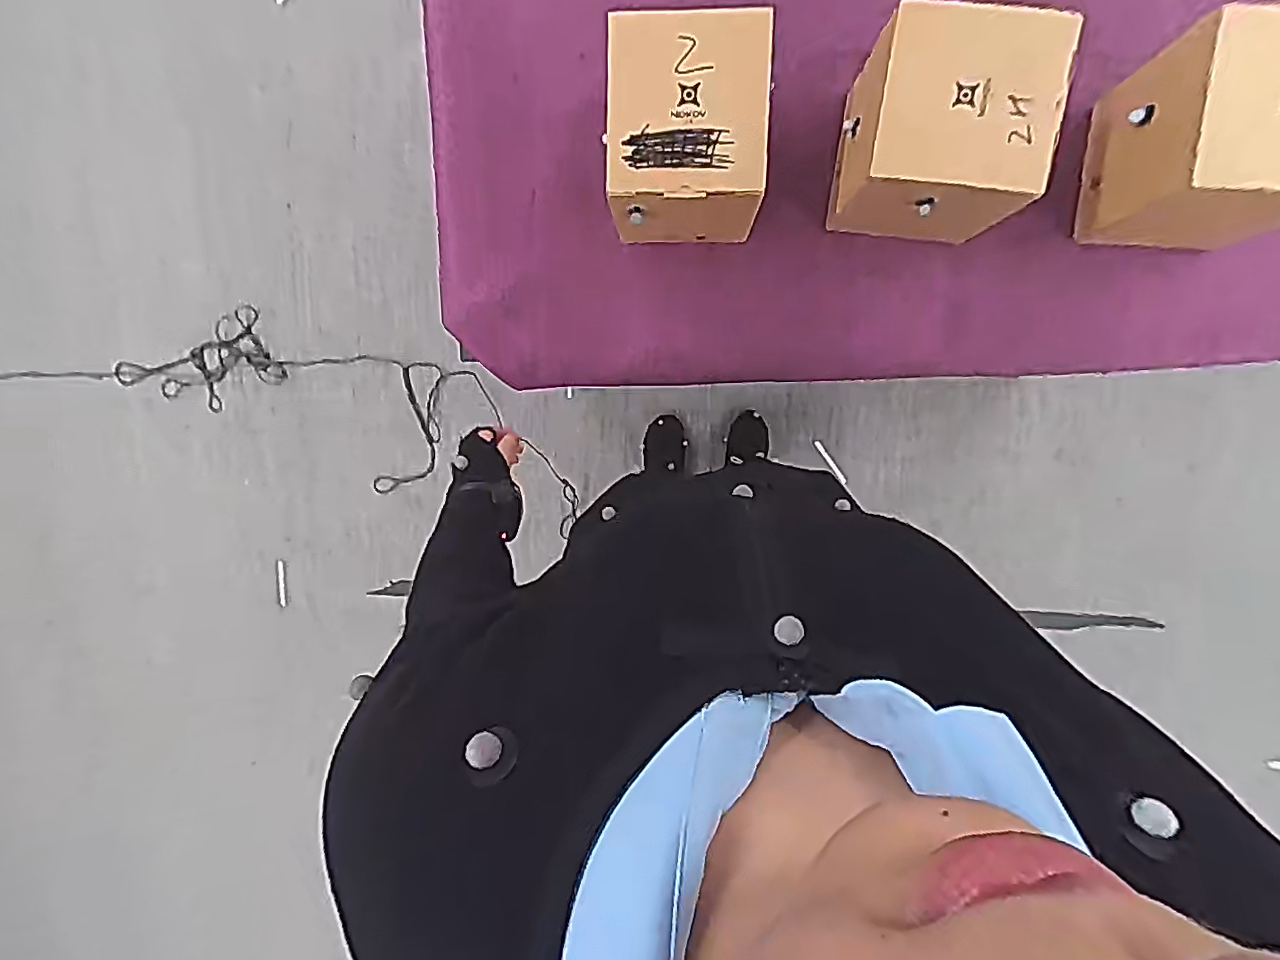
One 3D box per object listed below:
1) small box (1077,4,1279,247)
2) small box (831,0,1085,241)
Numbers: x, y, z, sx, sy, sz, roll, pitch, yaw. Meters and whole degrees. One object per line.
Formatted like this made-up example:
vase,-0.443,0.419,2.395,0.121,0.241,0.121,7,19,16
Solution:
small box,0.630,-0.367,0.590,0.179,0.176,0.168,4,96,3
small box,0.332,-0.384,0.607,0.179,0.176,0.168,8,98,3
